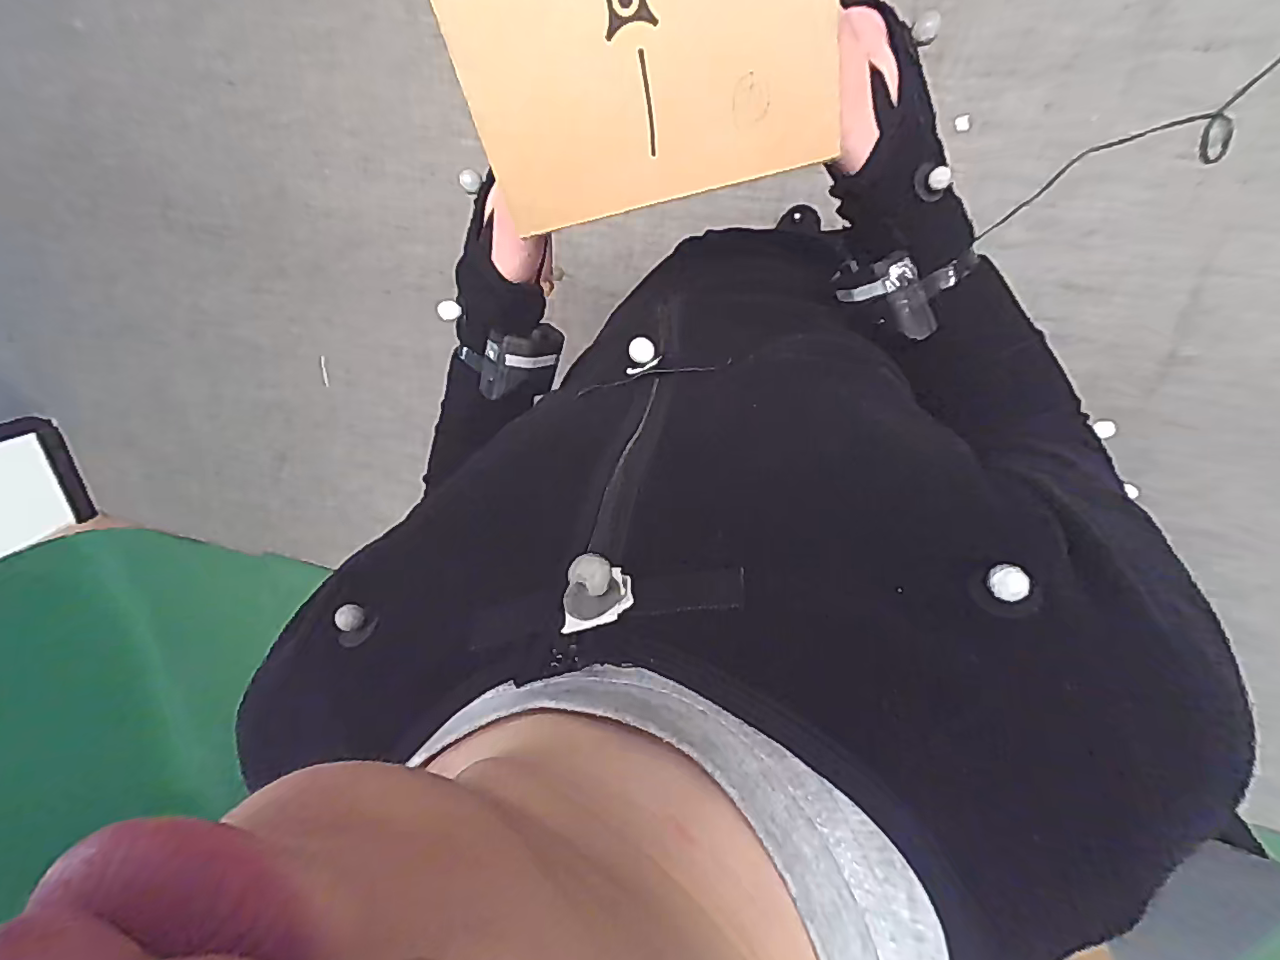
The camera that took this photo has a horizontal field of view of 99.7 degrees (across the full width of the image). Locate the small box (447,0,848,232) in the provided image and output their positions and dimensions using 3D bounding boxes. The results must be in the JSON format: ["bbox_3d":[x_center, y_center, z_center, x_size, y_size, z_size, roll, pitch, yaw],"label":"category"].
[{"bbox_3d":[0.006,-0.256,0.283,0.168,0.176,0.179,-8,126,13],"label":"small box"}]
